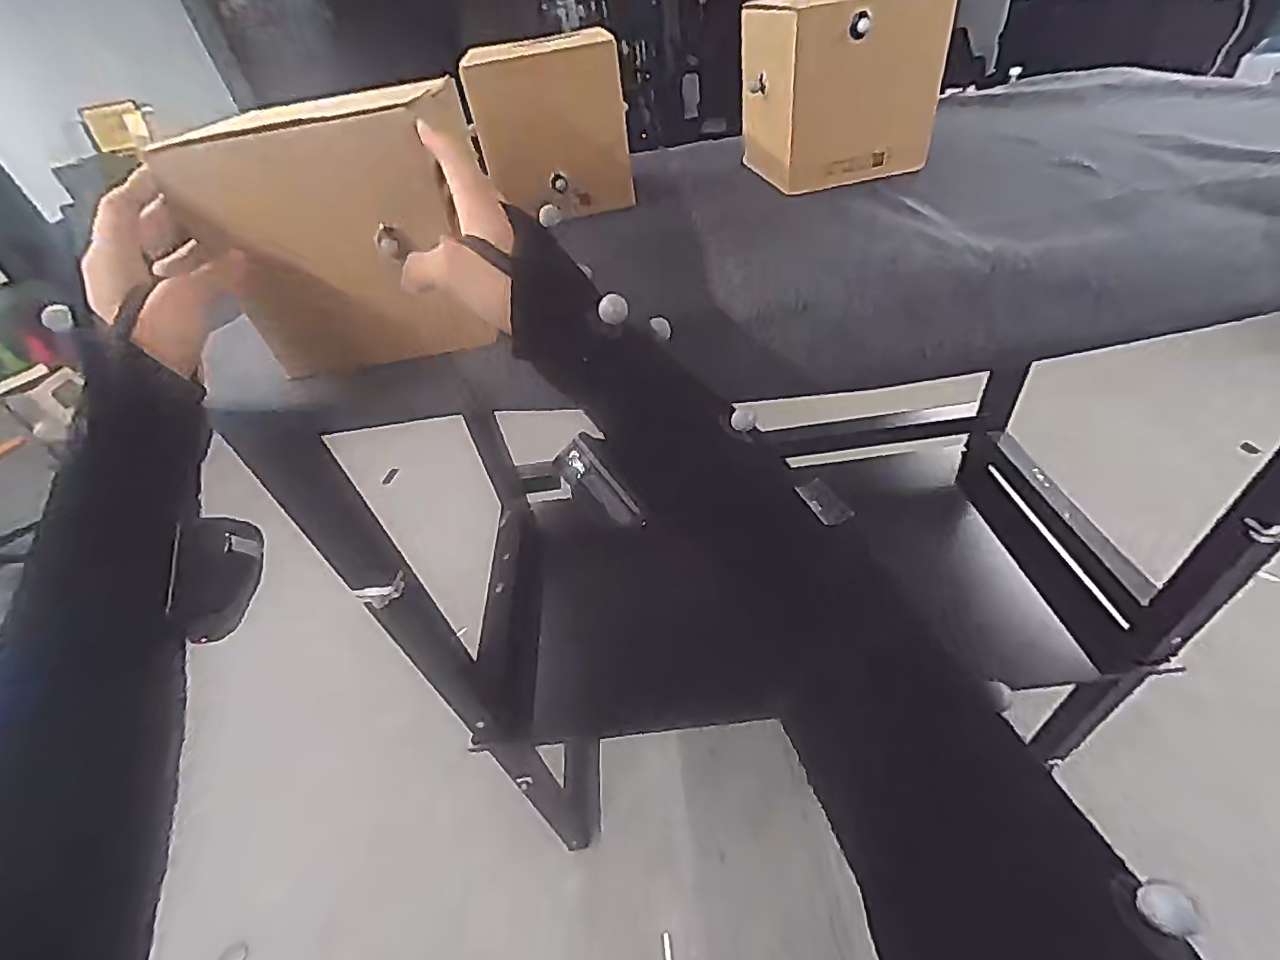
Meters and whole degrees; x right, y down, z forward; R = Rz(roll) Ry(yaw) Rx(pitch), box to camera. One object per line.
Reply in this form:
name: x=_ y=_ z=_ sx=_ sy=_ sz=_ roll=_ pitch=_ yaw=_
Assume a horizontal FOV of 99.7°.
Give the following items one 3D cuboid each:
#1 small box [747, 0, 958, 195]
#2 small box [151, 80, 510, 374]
small box: x=0.227 y=-0.451 z=0.634 sx=0.168 sy=0.176 sz=0.179 roll=-12 pitch=41 yaw=-2
small box: x=-0.218 y=-0.208 z=0.448 sx=0.179 sy=0.176 sz=0.168 roll=-9 pitch=41 yaw=1
